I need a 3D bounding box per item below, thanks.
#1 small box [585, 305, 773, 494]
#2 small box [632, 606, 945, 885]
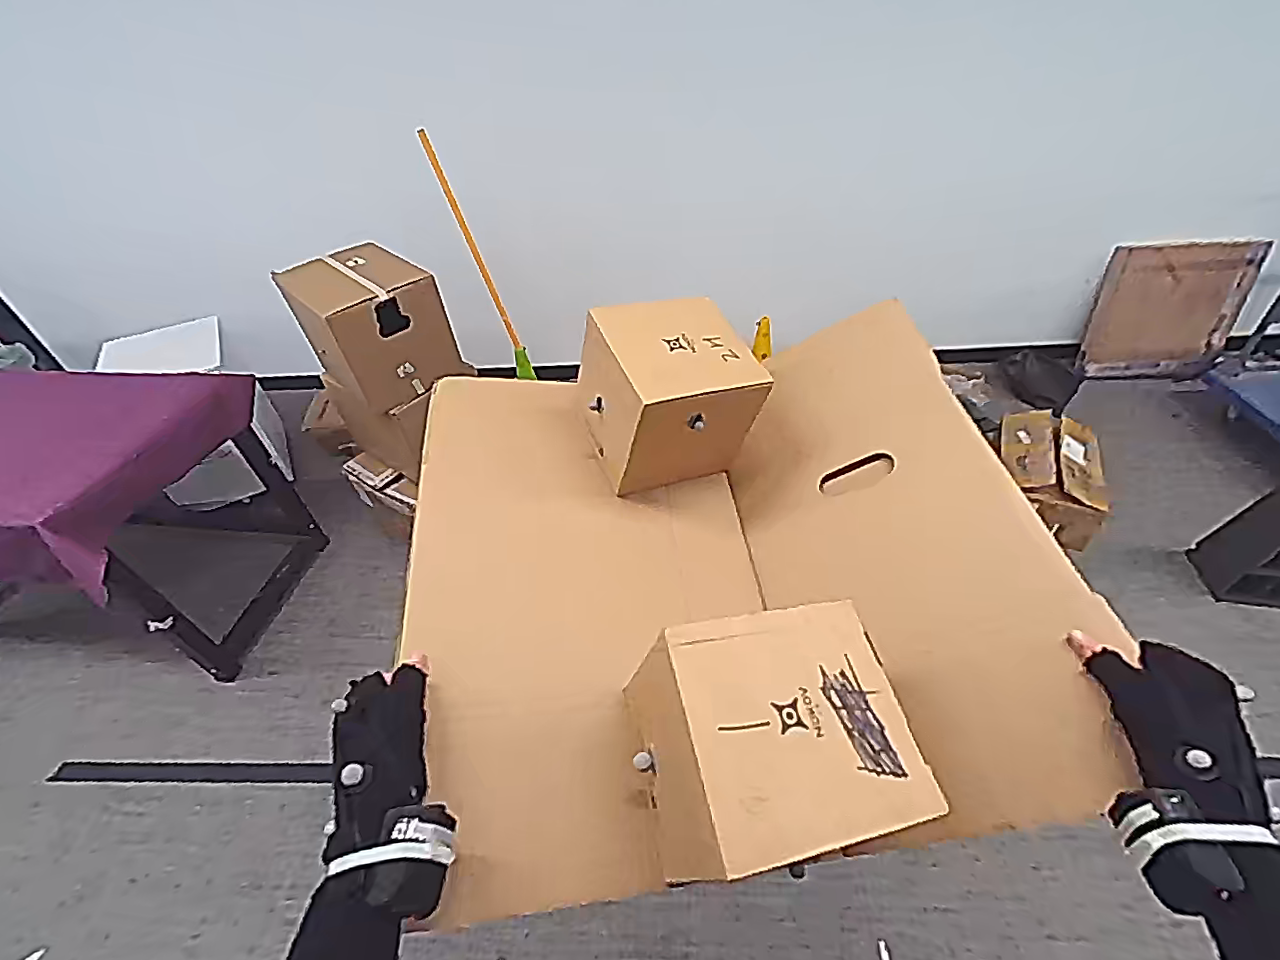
[{"bbox_3d":[0.035,-0.102,0.701,0.179,0.176,0.168,-13,57,-23],"label":"small box"},{"bbox_3d":[0.104,0.226,0.467,0.179,0.176,0.168,-5,55,-16],"label":"small box"}]
